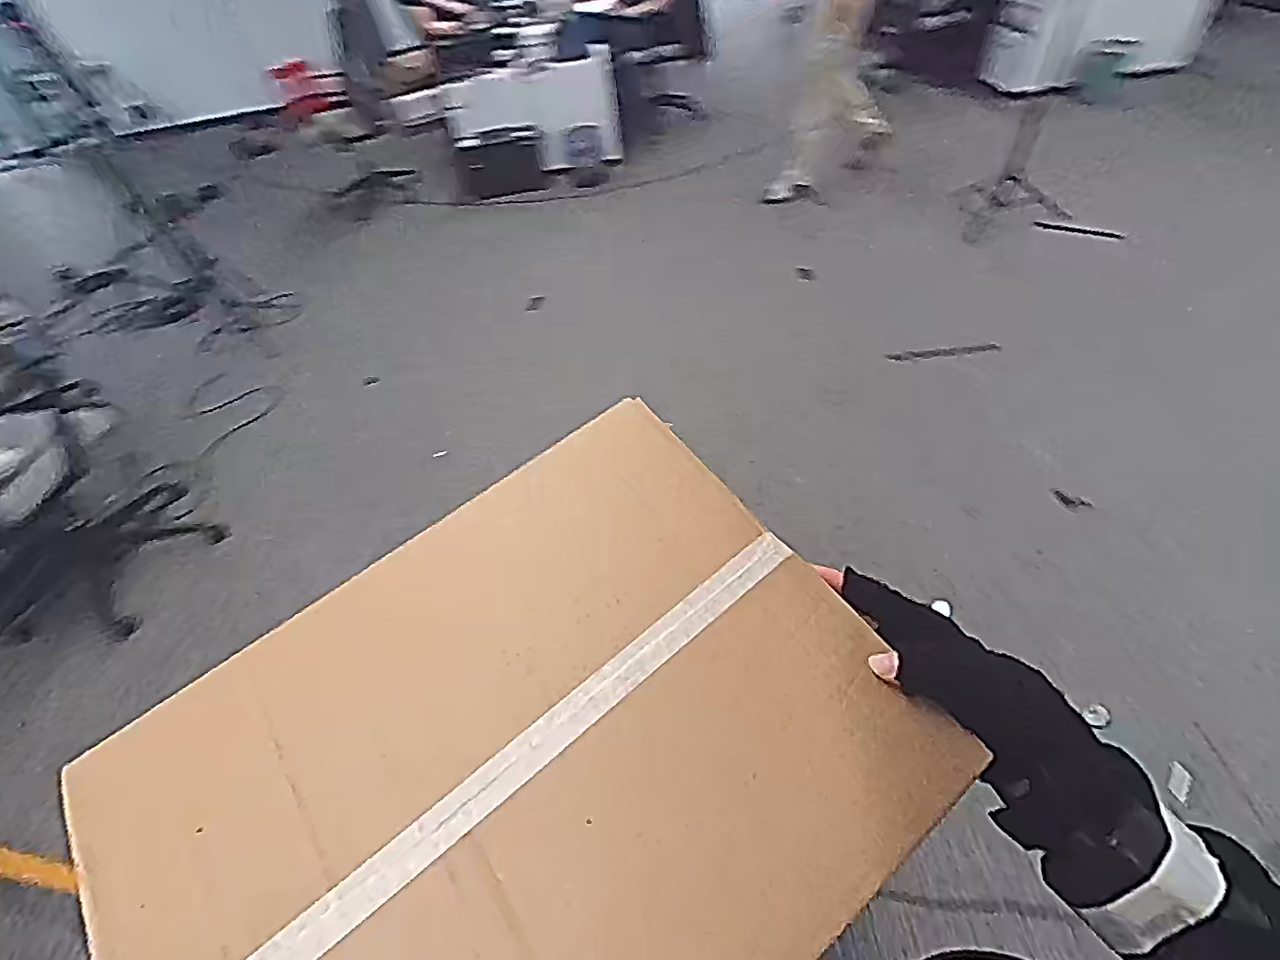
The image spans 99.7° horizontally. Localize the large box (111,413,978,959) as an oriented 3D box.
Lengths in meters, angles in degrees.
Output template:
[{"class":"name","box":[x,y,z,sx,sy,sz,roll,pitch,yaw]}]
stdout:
[{"class":"large box","box":[-0.051,0.229,0.434,0.408,0.320,0.320,-35,65,-14]}]
